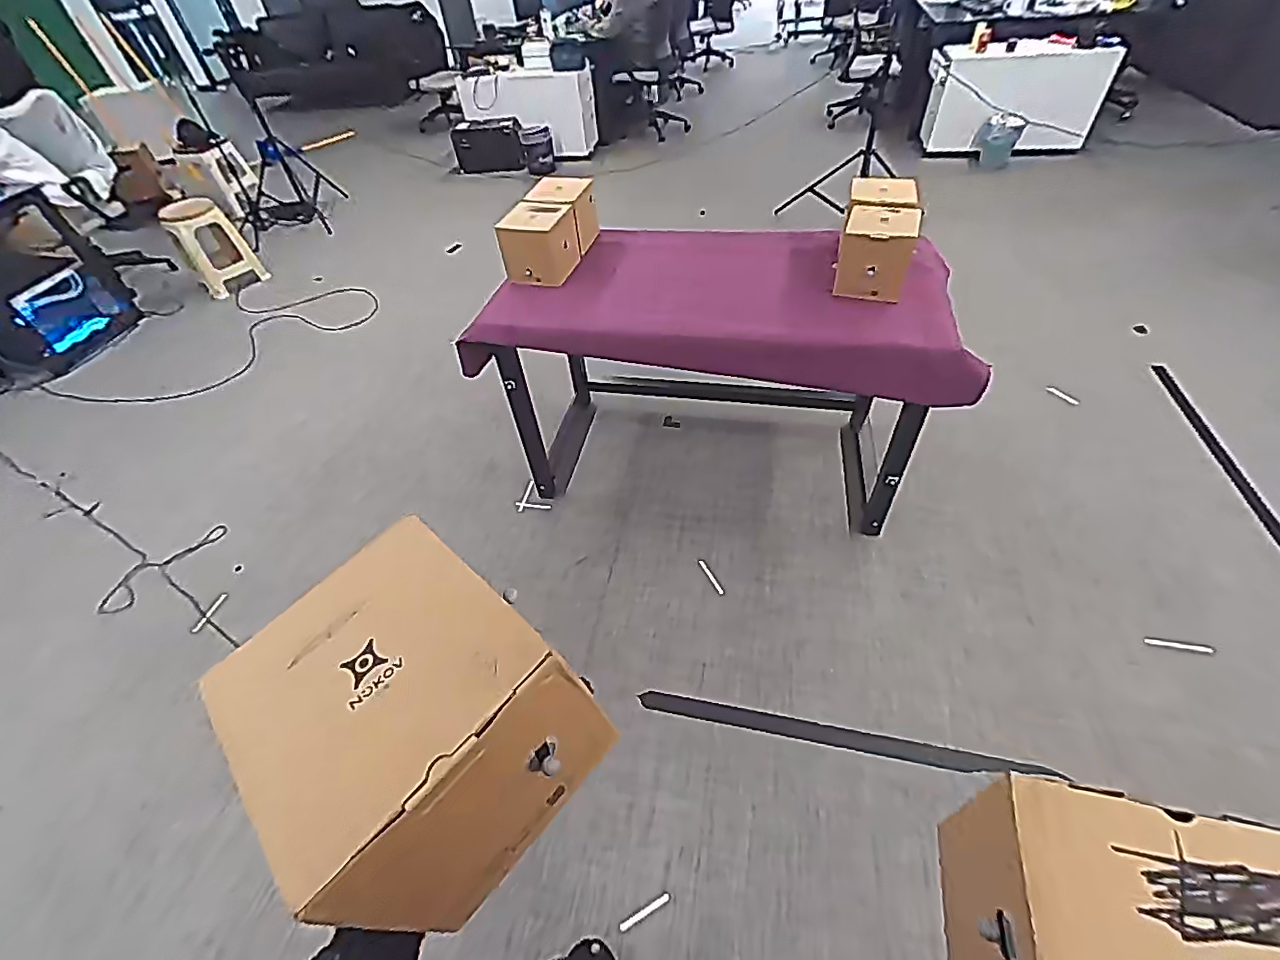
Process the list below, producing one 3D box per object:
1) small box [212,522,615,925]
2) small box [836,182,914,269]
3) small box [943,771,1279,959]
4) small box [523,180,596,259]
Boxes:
[{"bbox_3d":[-0.142,0.168,0.386,0.179,0.176,0.168,30,62,34],"label":"small box"},{"bbox_3d":[0.653,-0.715,1.517,0.168,0.176,0.179,10,48,13],"label":"small box"},{"bbox_3d":[0.288,0.299,0.308,0.168,0.176,0.179,5,50,16],"label":"small box"},{"bbox_3d":[-0.243,-0.816,1.692,0.168,0.176,0.179,9,50,14],"label":"small box"}]
